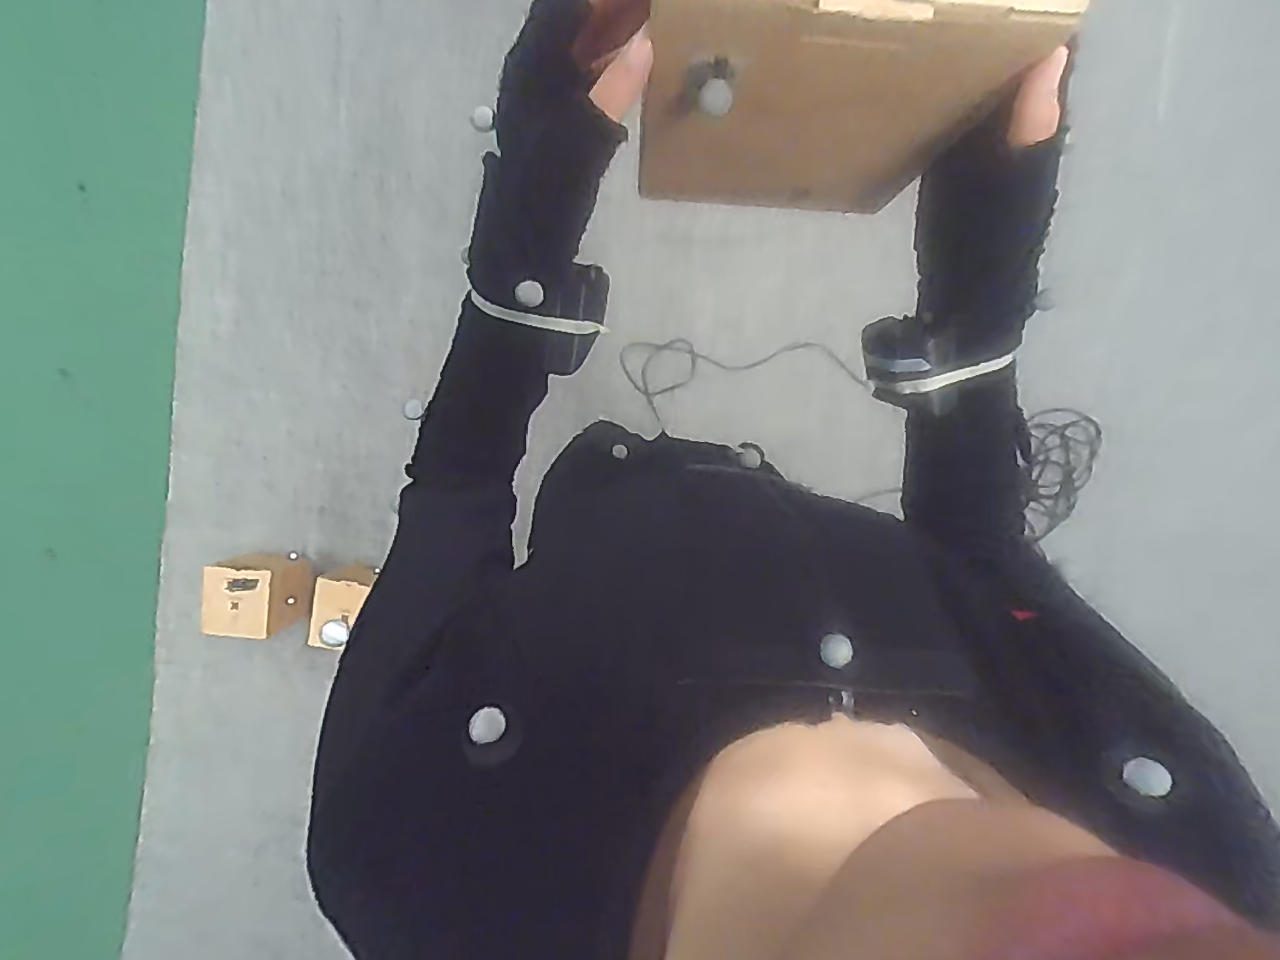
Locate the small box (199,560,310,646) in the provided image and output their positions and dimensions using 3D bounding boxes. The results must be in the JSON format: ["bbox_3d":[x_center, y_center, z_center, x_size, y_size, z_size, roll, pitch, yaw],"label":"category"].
[{"bbox_3d":[-0.988,0.309,1.400,0.168,0.176,0.179,6,93,0],"label":"small box"}]

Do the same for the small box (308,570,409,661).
[{"bbox_3d":[-0.722,0.345,1.402,0.168,0.176,0.179,9,92,0],"label":"small box"}]
